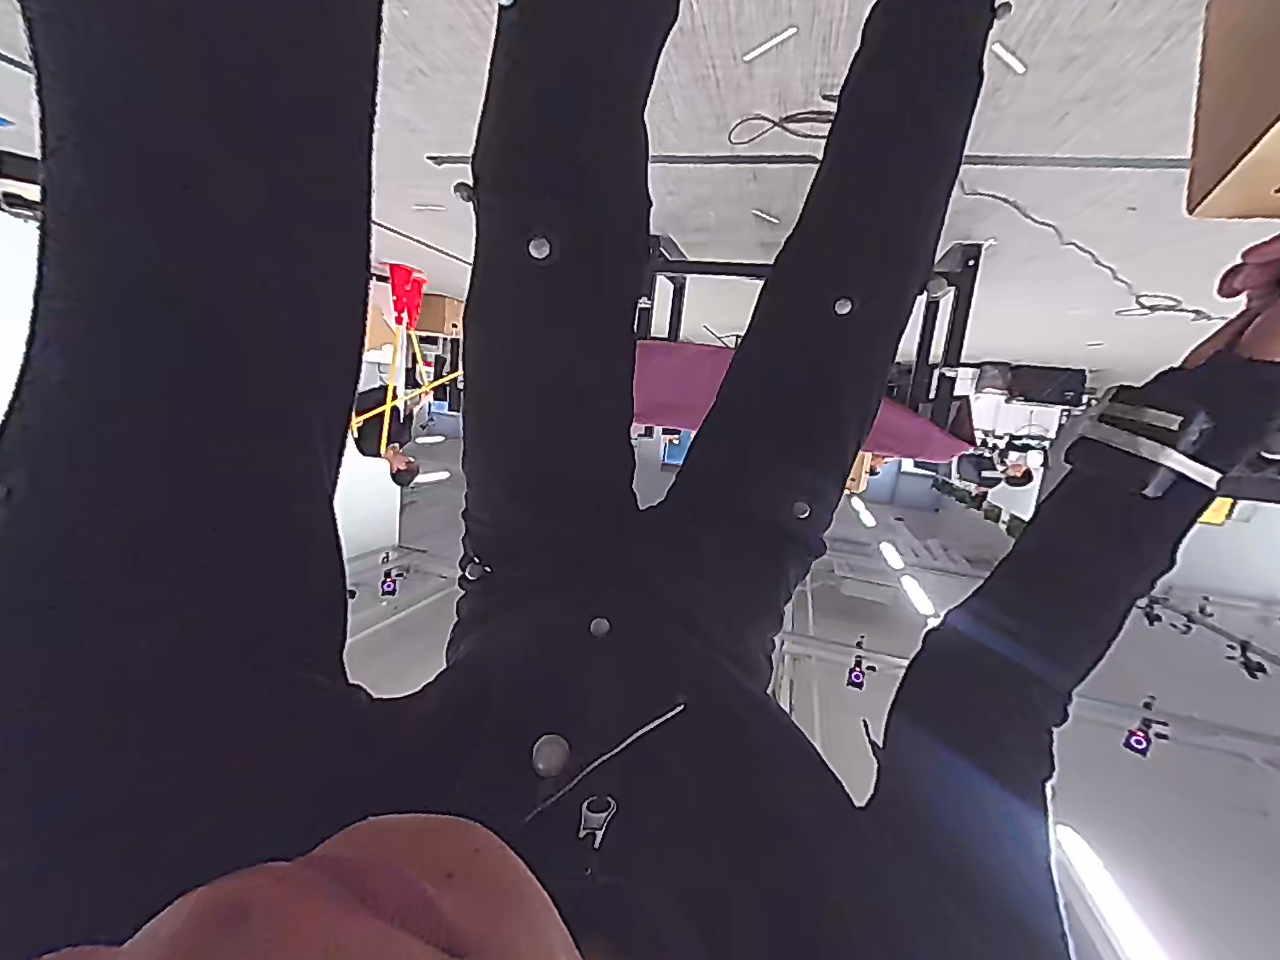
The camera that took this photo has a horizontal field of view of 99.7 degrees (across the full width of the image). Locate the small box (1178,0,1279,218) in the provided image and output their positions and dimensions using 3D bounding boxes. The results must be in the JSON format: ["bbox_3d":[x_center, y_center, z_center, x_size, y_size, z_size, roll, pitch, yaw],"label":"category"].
[{"bbox_3d":[0.398,-0.243,0.237,0.168,0.176,0.179,11,168,19],"label":"small box"}]
